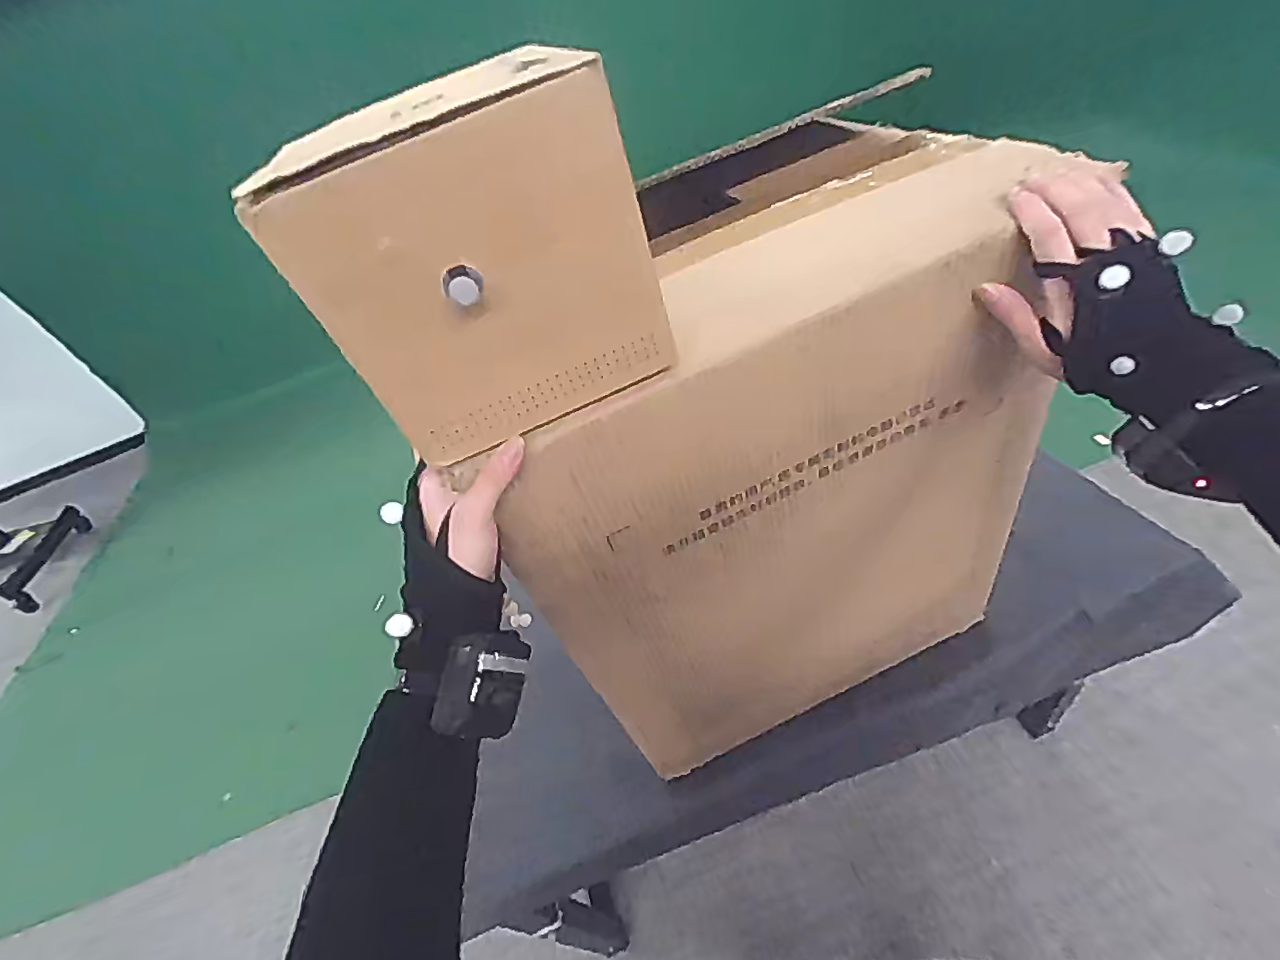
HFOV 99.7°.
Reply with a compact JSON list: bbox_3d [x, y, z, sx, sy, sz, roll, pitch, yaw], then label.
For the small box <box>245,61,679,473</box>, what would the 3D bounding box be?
[{"bbox_3d":[-0.095,-0.134,0.347,0.179,0.176,0.168,-25,45,-4],"label":"small box"}]
